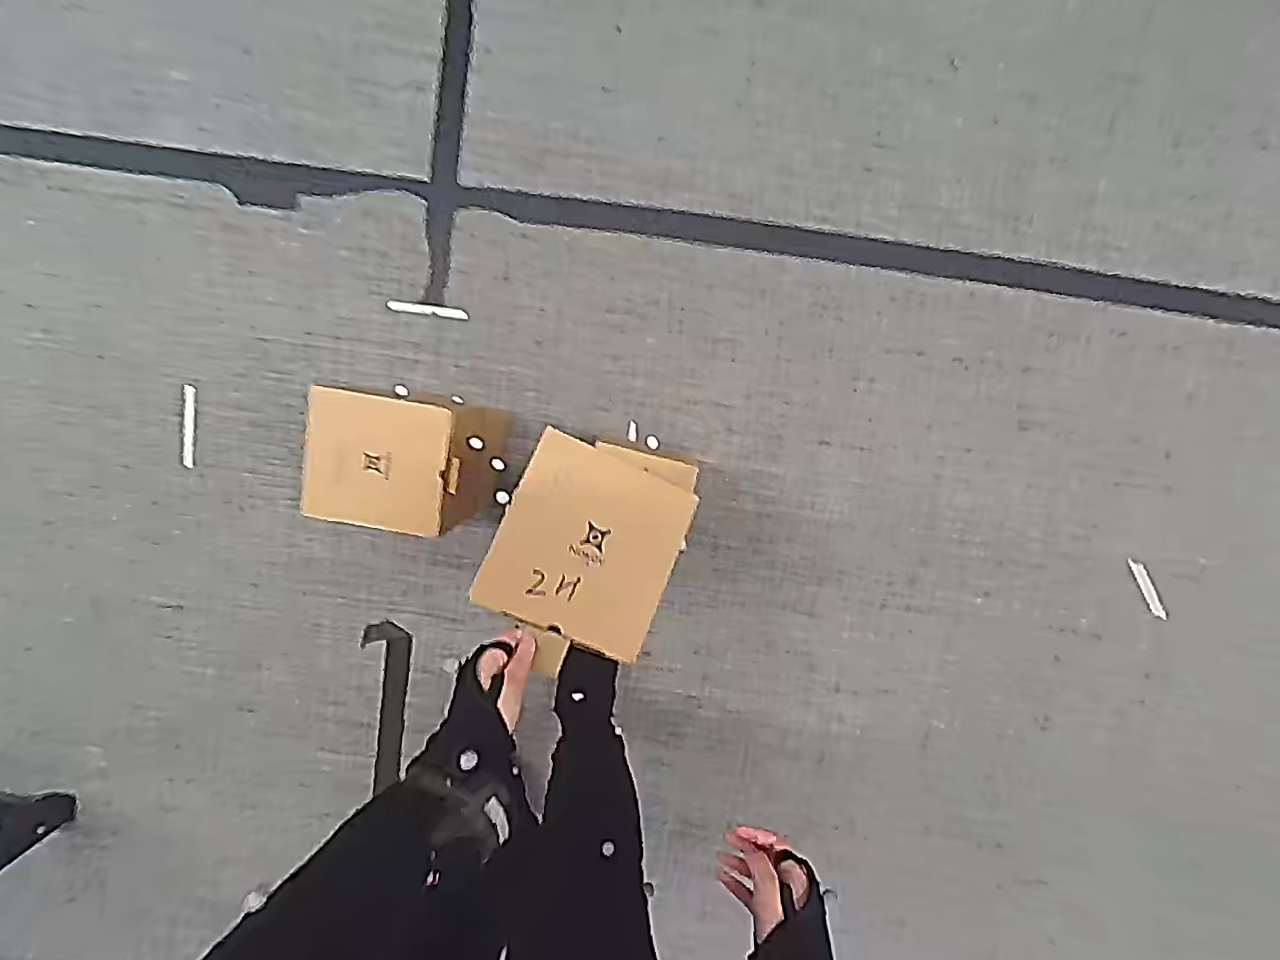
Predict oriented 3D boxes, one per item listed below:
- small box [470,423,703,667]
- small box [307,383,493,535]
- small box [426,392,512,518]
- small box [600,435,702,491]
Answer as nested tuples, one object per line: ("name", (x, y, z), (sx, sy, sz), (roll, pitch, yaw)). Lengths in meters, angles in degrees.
("small box", (-0.062, 0.065, 0.568), (0.168, 0.176, 0.179), (26, 80, -10))
("small box", (-0.315, -0.036, 0.741), (0.179, 0.176, 0.168), (11, 98, -1))
("small box", (-0.326, -0.051, 0.904), (0.179, 0.176, 0.168), (15, 98, -3))
("small box", (-0.003, 0.030, 0.917), (0.168, 0.176, 0.179), (15, 98, -2))
